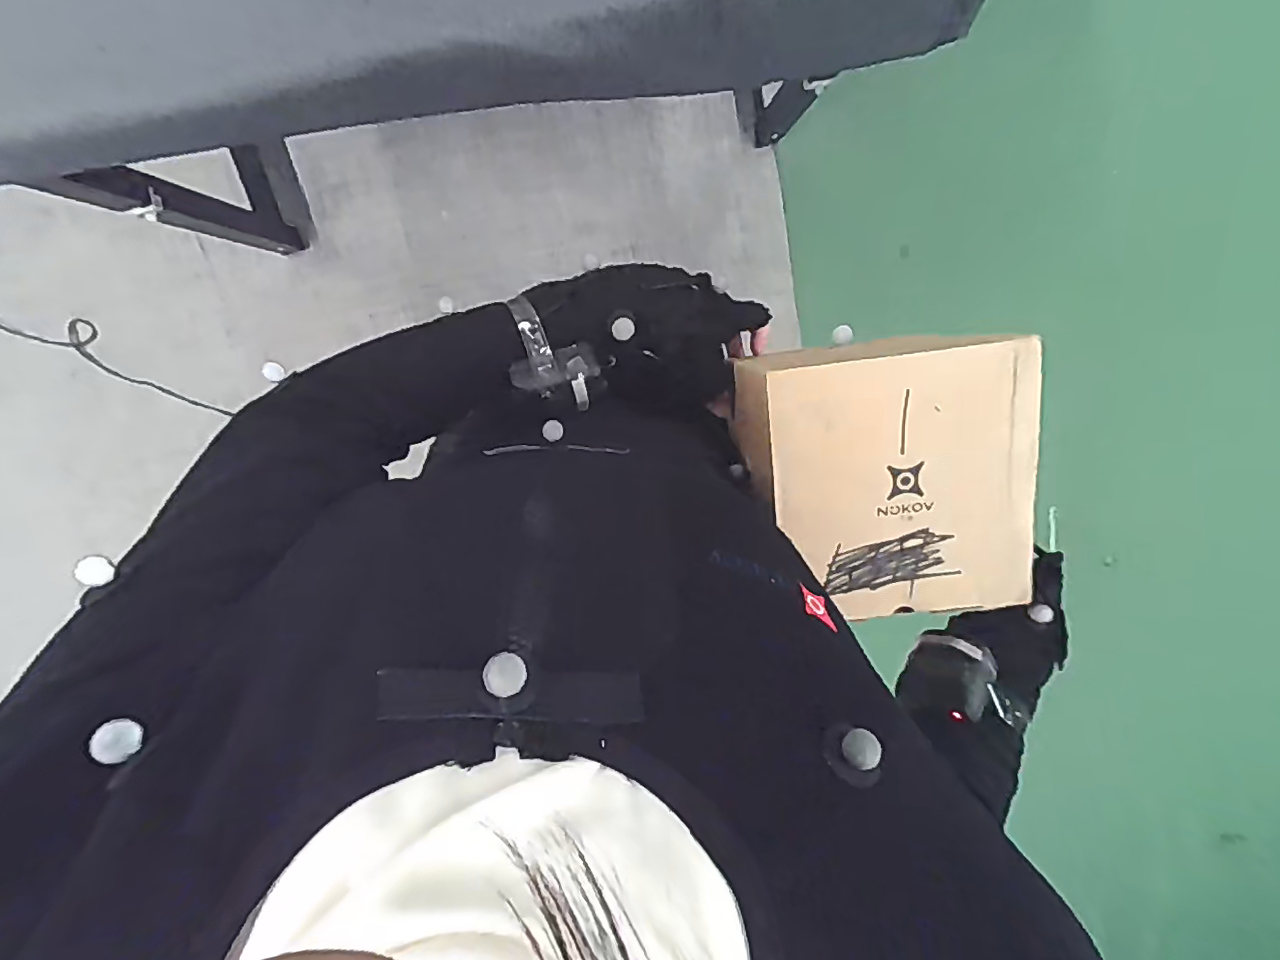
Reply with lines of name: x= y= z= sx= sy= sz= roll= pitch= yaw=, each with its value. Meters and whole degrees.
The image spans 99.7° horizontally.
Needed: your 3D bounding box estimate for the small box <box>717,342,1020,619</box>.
small box: x=0.158 y=-0.013 z=0.430 sx=0.168 sy=0.176 sz=0.179 roll=-6 pitch=104 yaw=1
